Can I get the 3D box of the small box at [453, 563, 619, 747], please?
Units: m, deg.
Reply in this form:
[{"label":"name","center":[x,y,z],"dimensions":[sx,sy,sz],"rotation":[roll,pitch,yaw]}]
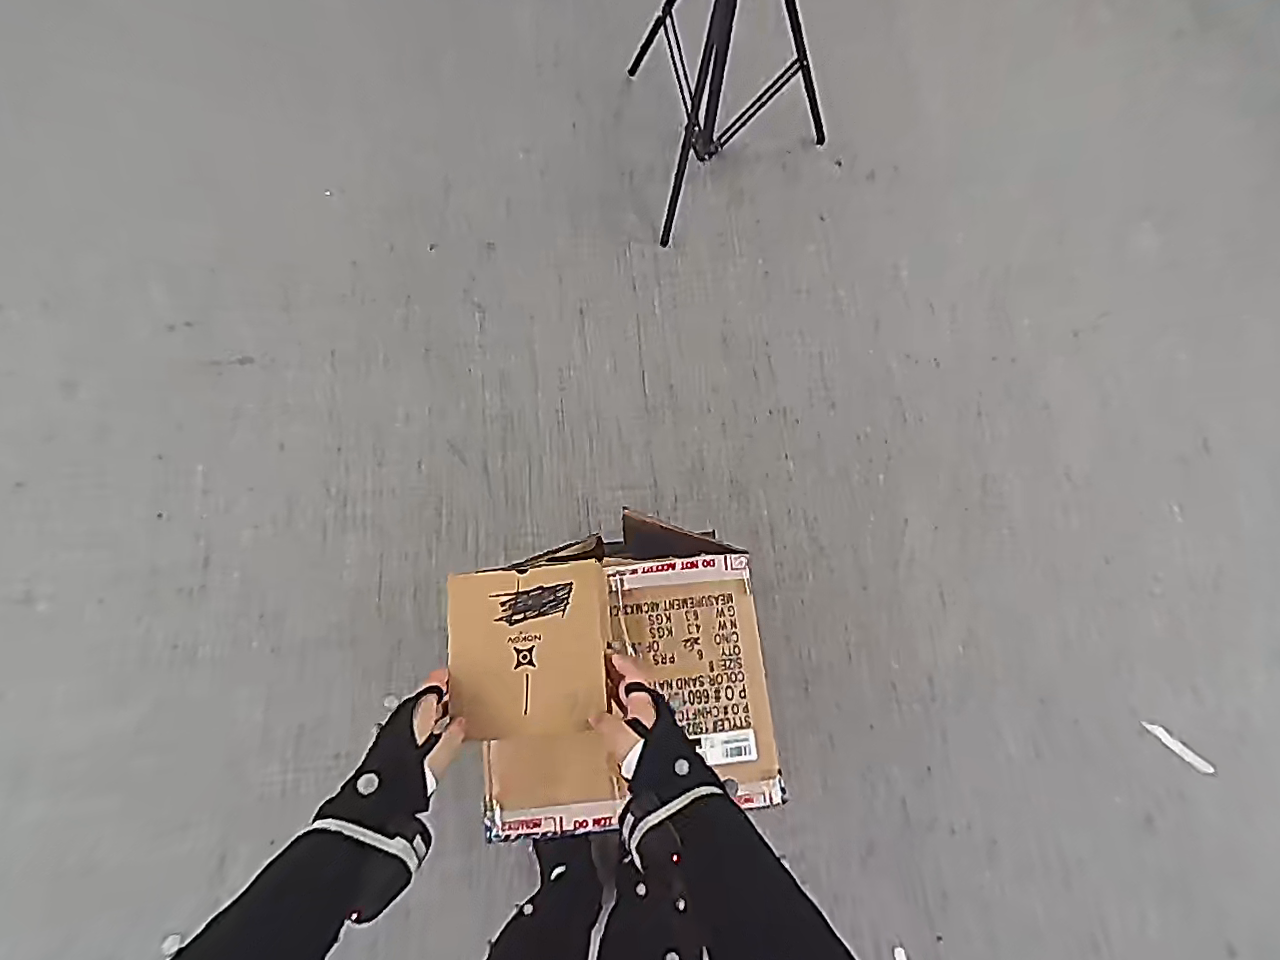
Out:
[{"label":"small box","center":[-0.117,0.203,0.653],"dimensions":[0.168,0.176,0.179],"rotation":[-6,77,0]}]
